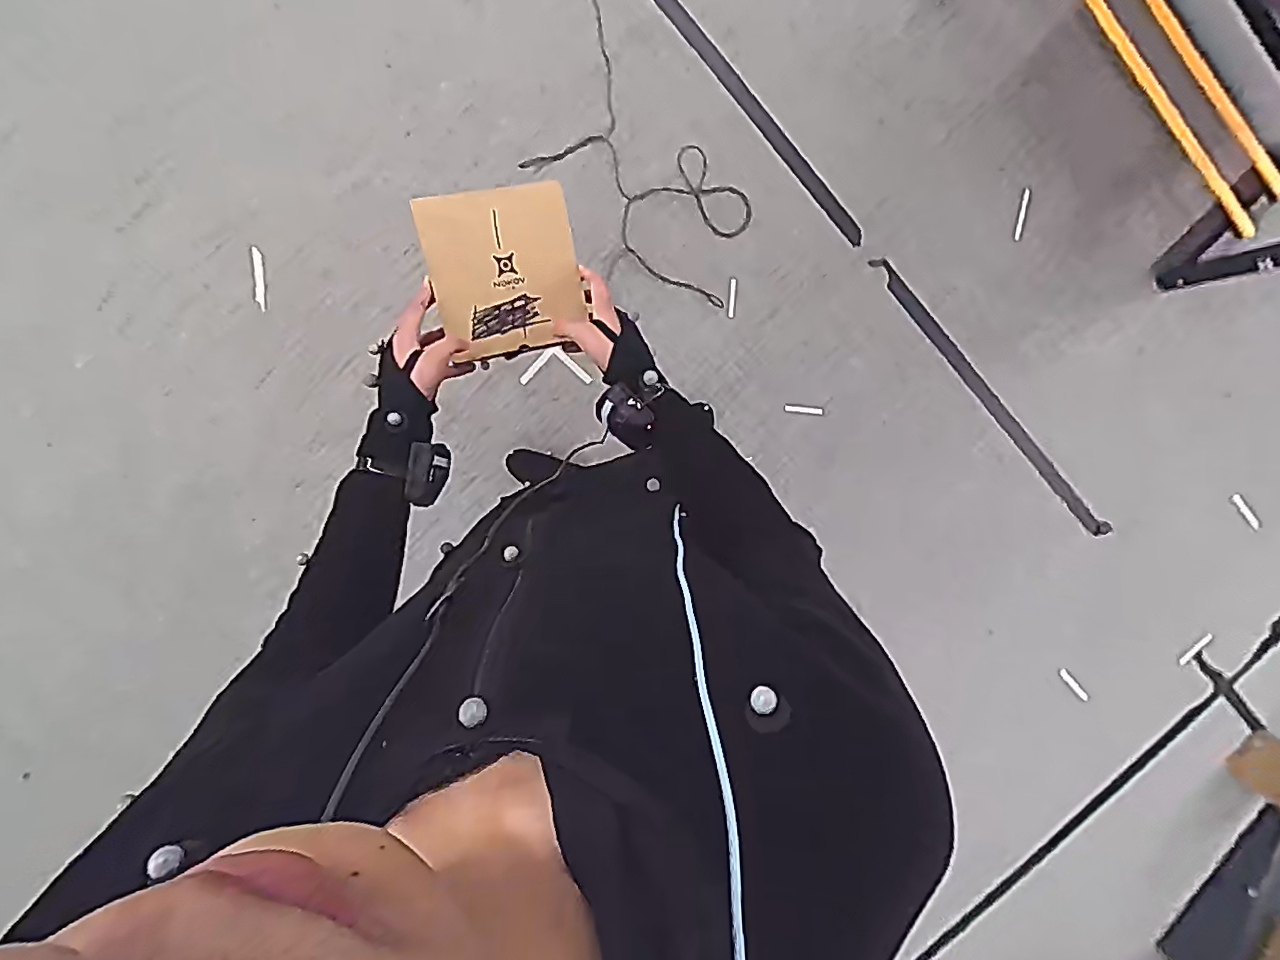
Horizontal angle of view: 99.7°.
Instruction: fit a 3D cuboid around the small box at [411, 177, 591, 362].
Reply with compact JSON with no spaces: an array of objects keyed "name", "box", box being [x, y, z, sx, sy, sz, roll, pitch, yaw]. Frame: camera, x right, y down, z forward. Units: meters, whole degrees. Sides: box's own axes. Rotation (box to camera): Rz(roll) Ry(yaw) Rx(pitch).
[{"name":"small box","box":[-0.166,-0.251,0.674,0.168,0.176,0.179,-14,105,-11]}]
